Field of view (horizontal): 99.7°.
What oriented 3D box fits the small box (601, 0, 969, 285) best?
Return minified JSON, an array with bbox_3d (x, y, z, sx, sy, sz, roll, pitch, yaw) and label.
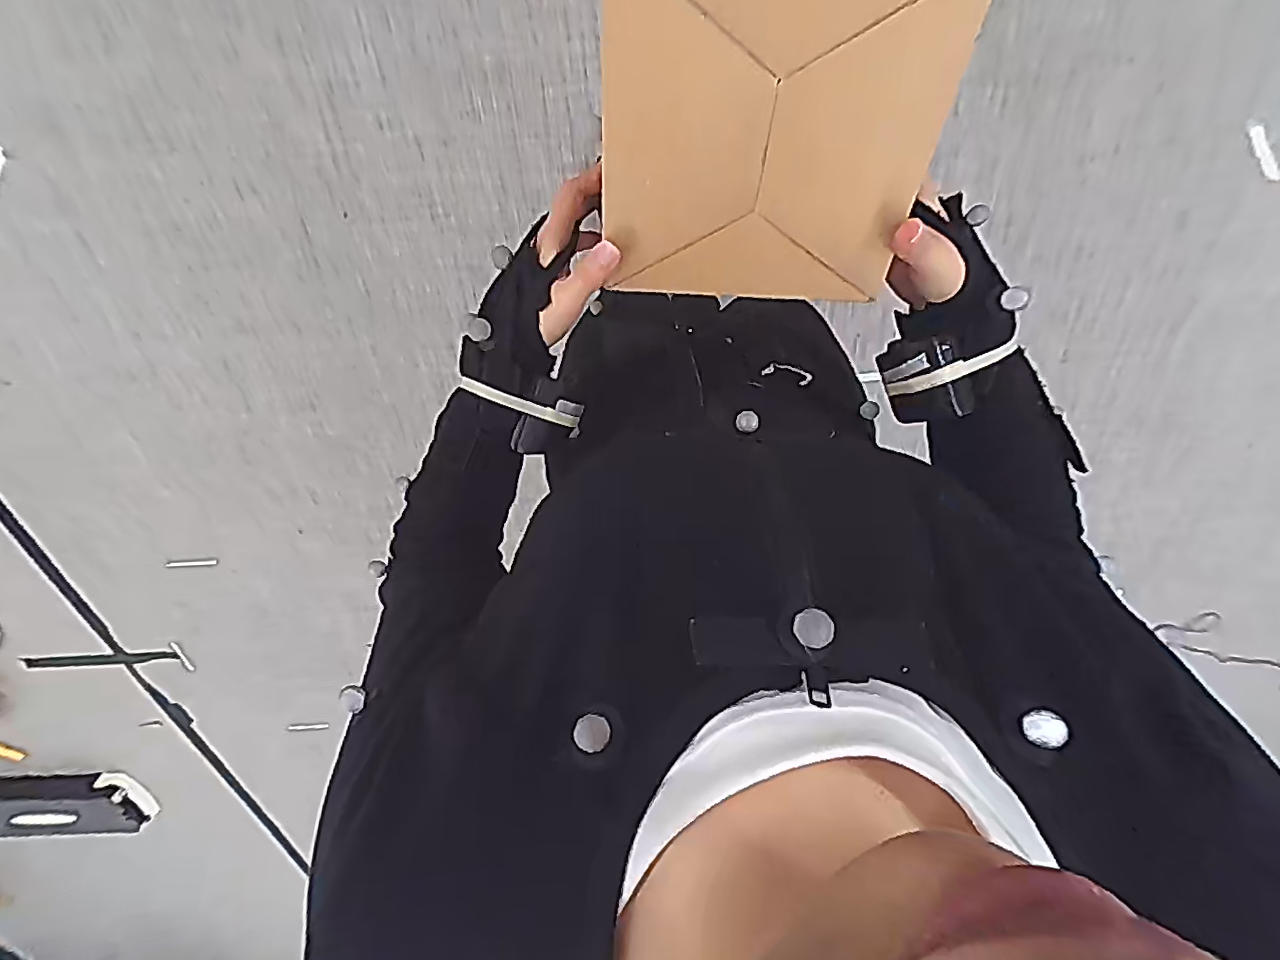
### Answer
[{"bbox_3d":[0.070,-0.236,0.338,0.179,0.176,0.168,2,135,-1],"label":"small box"}]
